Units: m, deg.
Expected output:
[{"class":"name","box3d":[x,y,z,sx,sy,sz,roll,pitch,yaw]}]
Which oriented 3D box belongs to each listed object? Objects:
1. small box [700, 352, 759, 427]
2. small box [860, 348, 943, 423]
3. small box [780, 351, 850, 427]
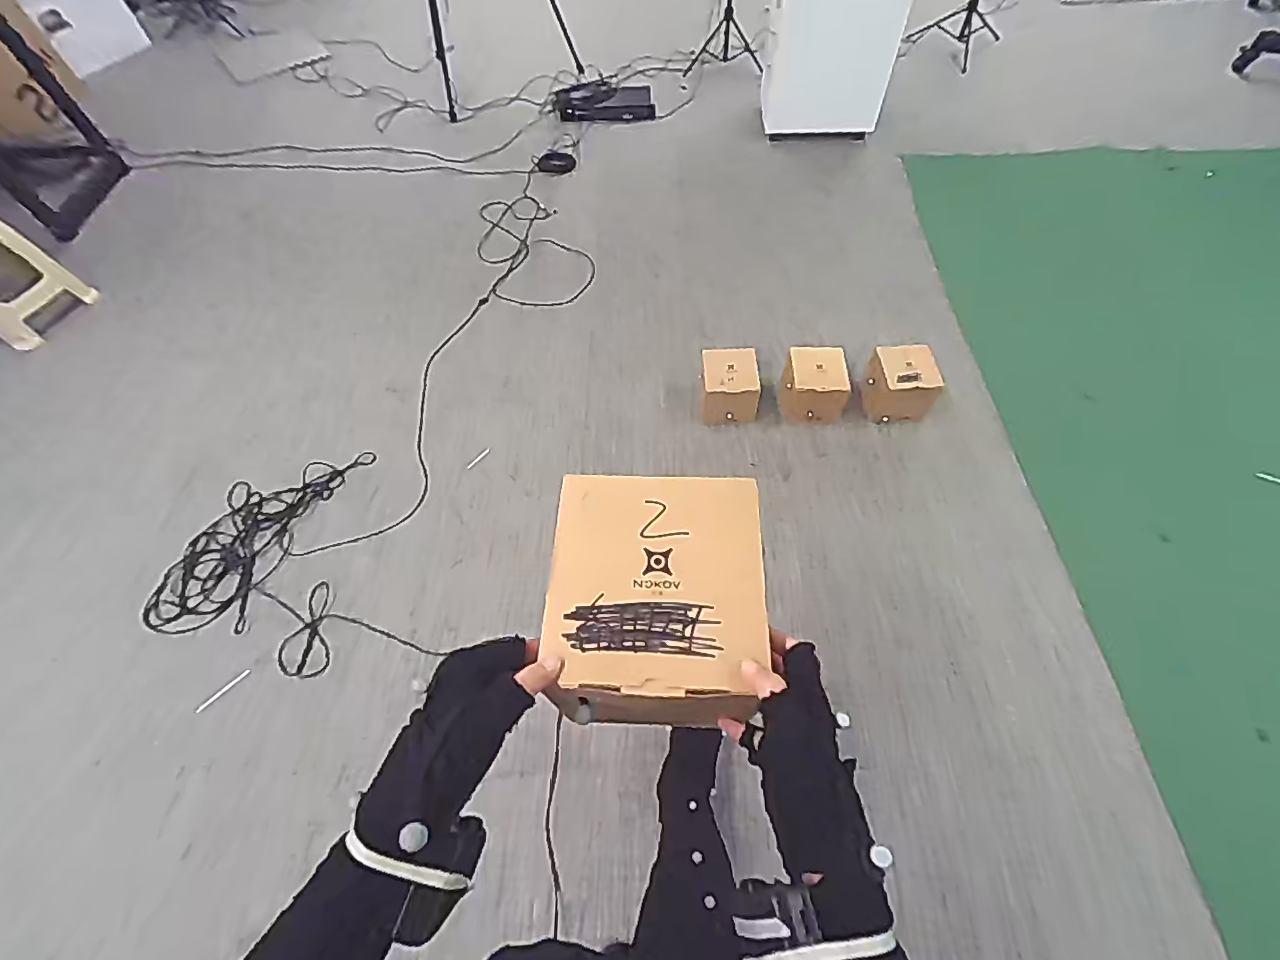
[{"class":"small box","box3d":[0.281,-0.287,1.726,0.168,0.176,0.179,-1,59,3]},{"class":"small box","box3d":[0.818,-0.291,1.707,0.168,0.176,0.179,-2,58,1]},{"class":"small box","box3d":[0.549,-0.289,1.718,0.168,0.176,0.179,1,59,3]}]
